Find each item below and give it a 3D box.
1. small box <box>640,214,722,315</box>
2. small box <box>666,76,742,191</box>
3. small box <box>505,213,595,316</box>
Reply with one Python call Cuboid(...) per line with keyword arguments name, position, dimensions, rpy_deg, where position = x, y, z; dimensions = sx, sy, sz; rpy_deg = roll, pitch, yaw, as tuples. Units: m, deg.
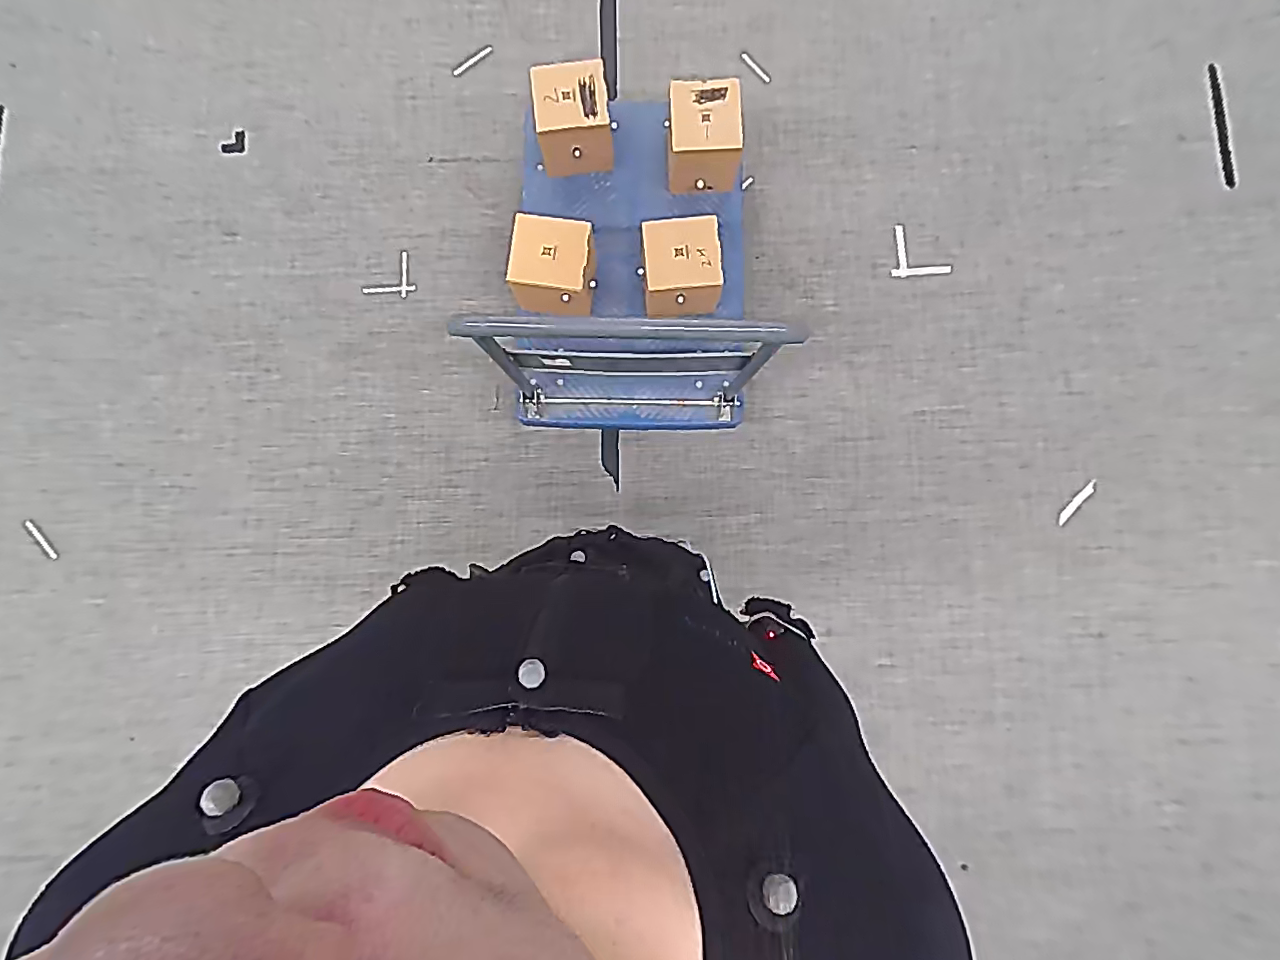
Cuboid(name="small box", position=(0.095, -0.509, 1.302), dimensions=(0.179, 0.176, 0.168), rpy_deg=(-5, 85, 0))
Cuboid(name="small box", position=(0.151, -0.843, 1.328), dimensions=(0.168, 0.176, 0.179), rpy_deg=(-2, 86, 1))
Cuboid(name="small box", position=(-0.209, -0.512, 1.304), dimensions=(0.179, 0.176, 0.168), rpy_deg=(7, 85, -1))
